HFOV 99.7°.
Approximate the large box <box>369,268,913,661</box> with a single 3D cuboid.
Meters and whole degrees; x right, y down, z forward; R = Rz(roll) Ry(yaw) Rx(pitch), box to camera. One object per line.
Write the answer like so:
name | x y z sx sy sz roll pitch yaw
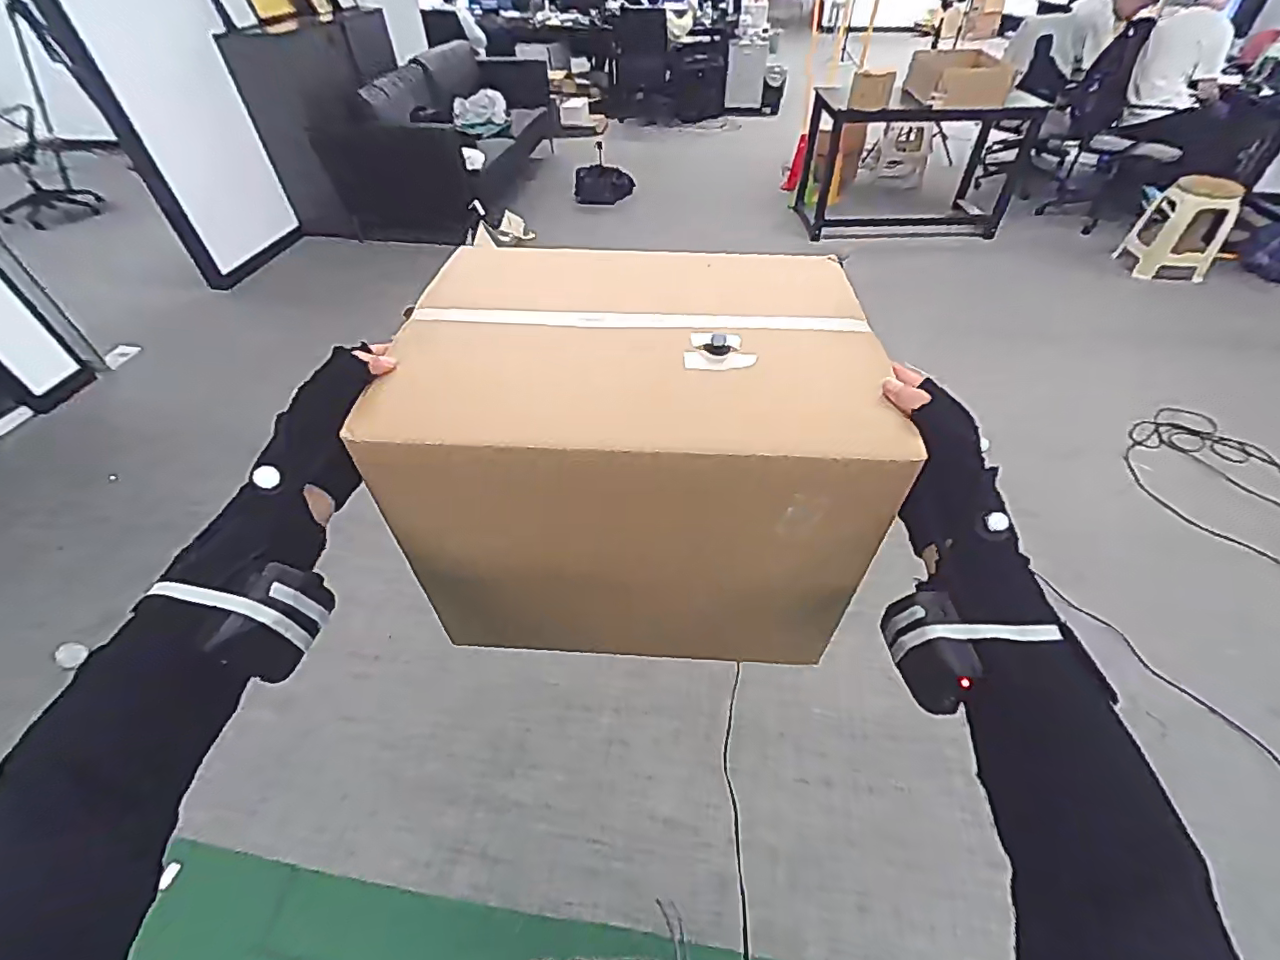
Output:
large box | 0.000 -0.016 0.596 0.408 0.320 0.320 3 46 1
